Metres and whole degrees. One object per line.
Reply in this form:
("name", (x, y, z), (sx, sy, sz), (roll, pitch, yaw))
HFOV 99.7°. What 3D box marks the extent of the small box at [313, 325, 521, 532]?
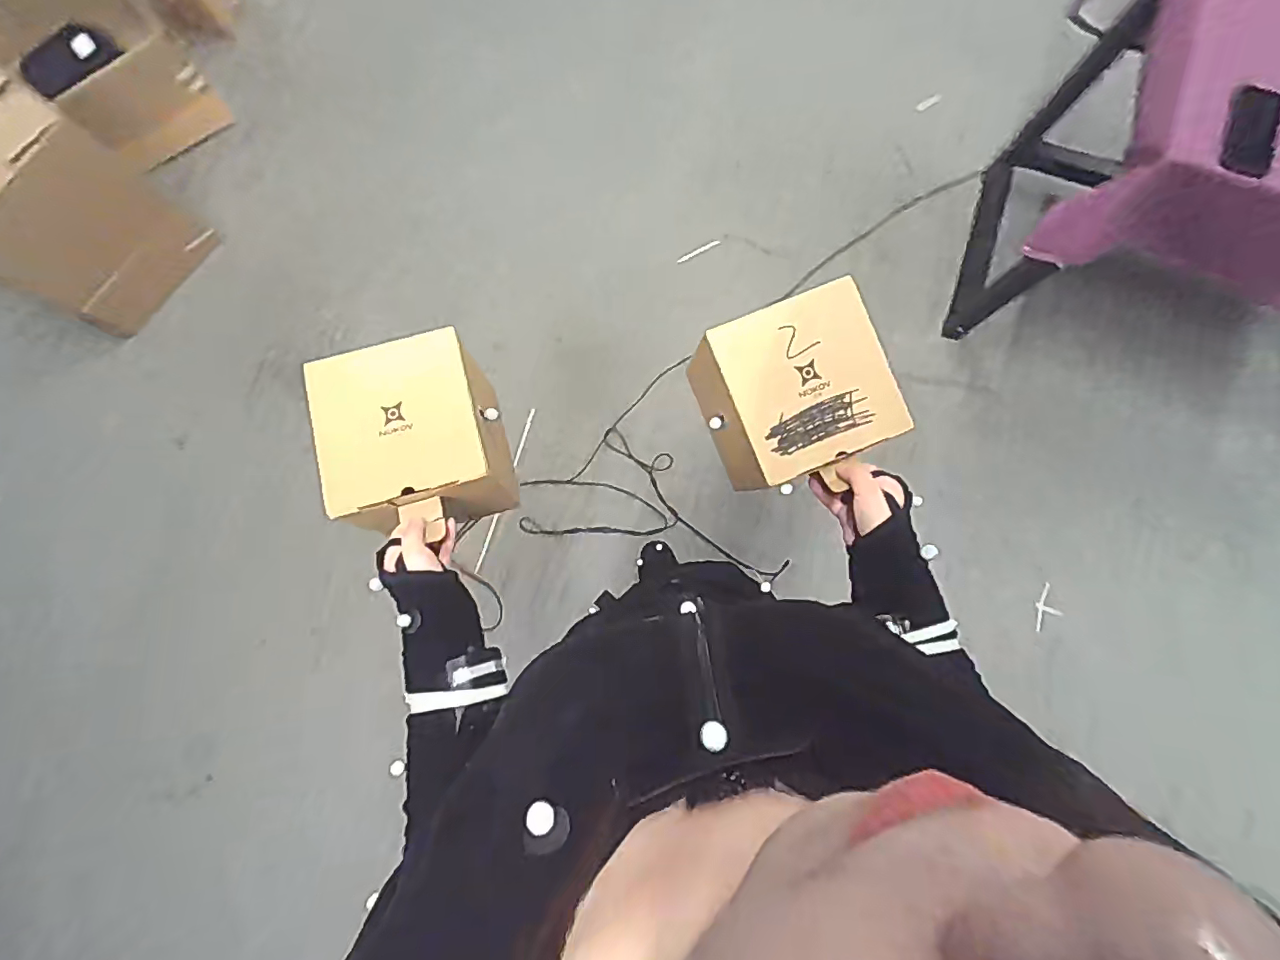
("small box", (-0.250, -0.050, 0.638), (0.168, 0.176, 0.179), (-15, 78, -4))
